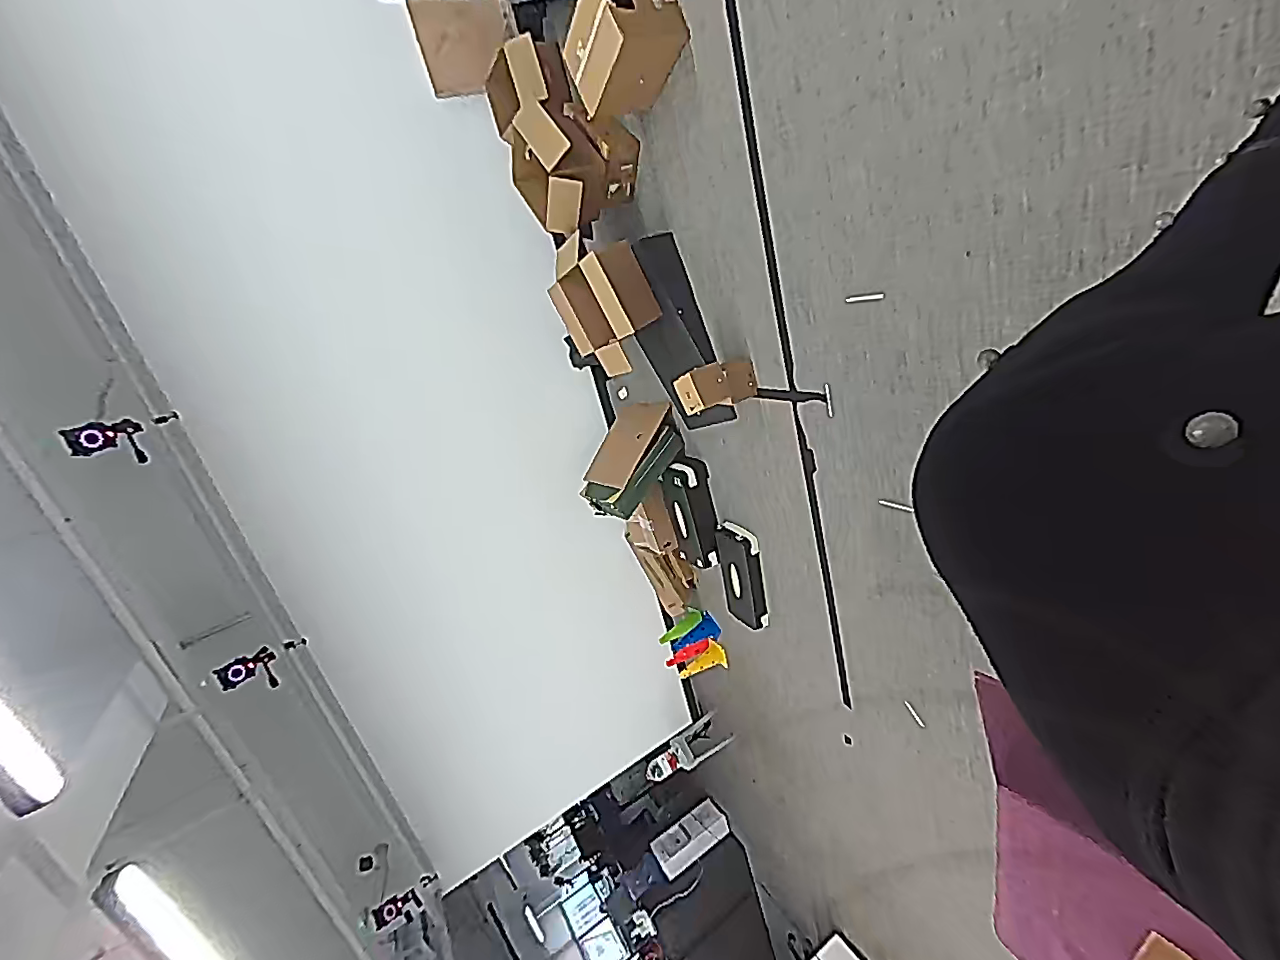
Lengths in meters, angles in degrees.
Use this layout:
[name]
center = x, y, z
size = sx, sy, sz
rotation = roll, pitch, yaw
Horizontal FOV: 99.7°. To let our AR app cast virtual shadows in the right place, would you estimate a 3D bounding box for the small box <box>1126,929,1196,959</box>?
[small box]
center = 0.972, 0.978, 0.974
size = 0.168, 0.176, 0.179
rotation = 24, 134, 56
